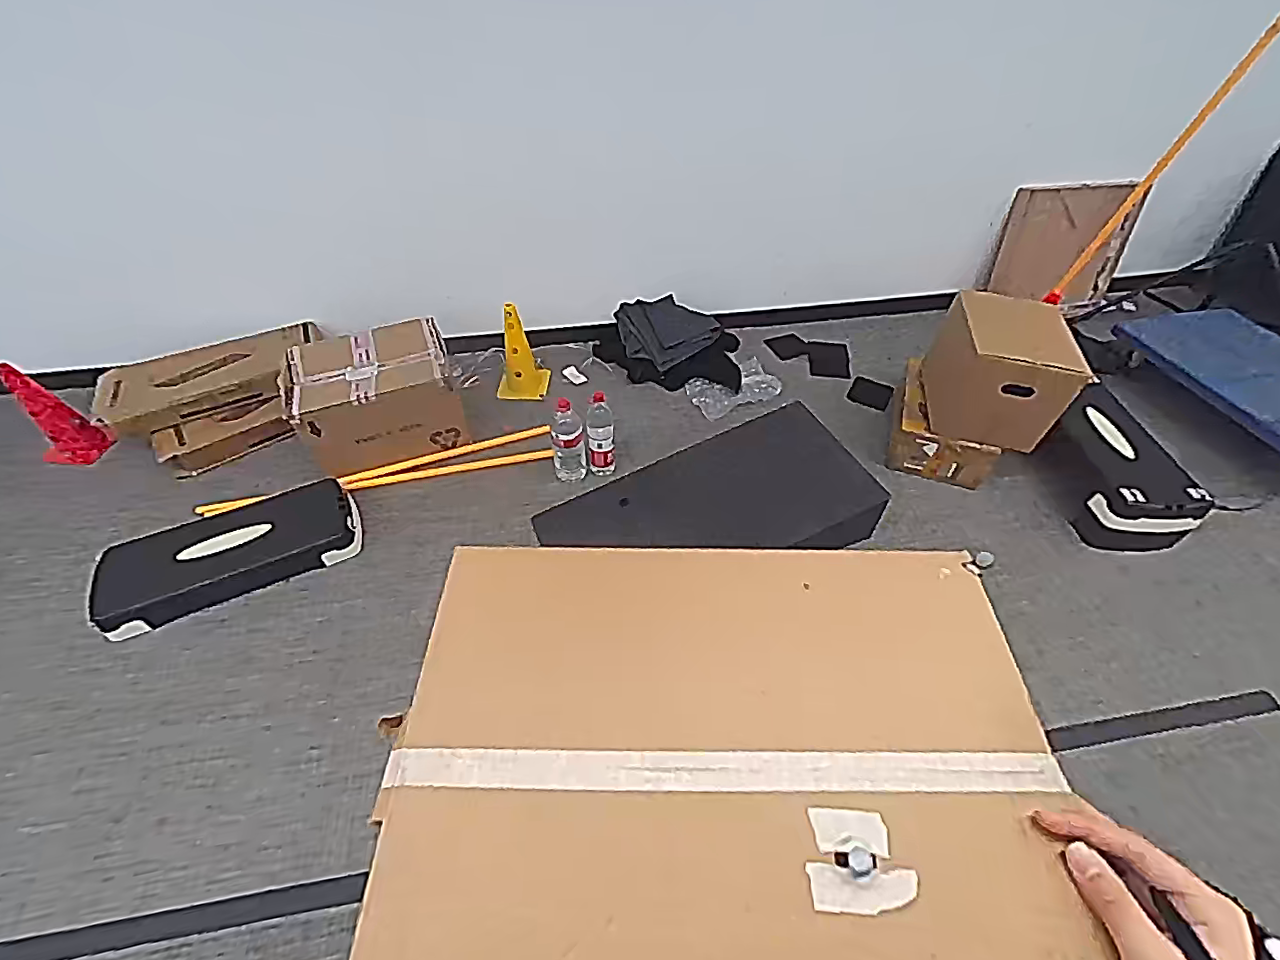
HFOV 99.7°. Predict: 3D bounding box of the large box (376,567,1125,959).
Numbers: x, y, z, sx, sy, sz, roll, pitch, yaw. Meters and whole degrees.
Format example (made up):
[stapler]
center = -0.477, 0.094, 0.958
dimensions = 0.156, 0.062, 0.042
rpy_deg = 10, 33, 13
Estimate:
[large box]
center = 0.055, 0.282, 0.452
dimensions = 0.408, 0.320, 0.320
rpy_deg = 1, 52, 0
